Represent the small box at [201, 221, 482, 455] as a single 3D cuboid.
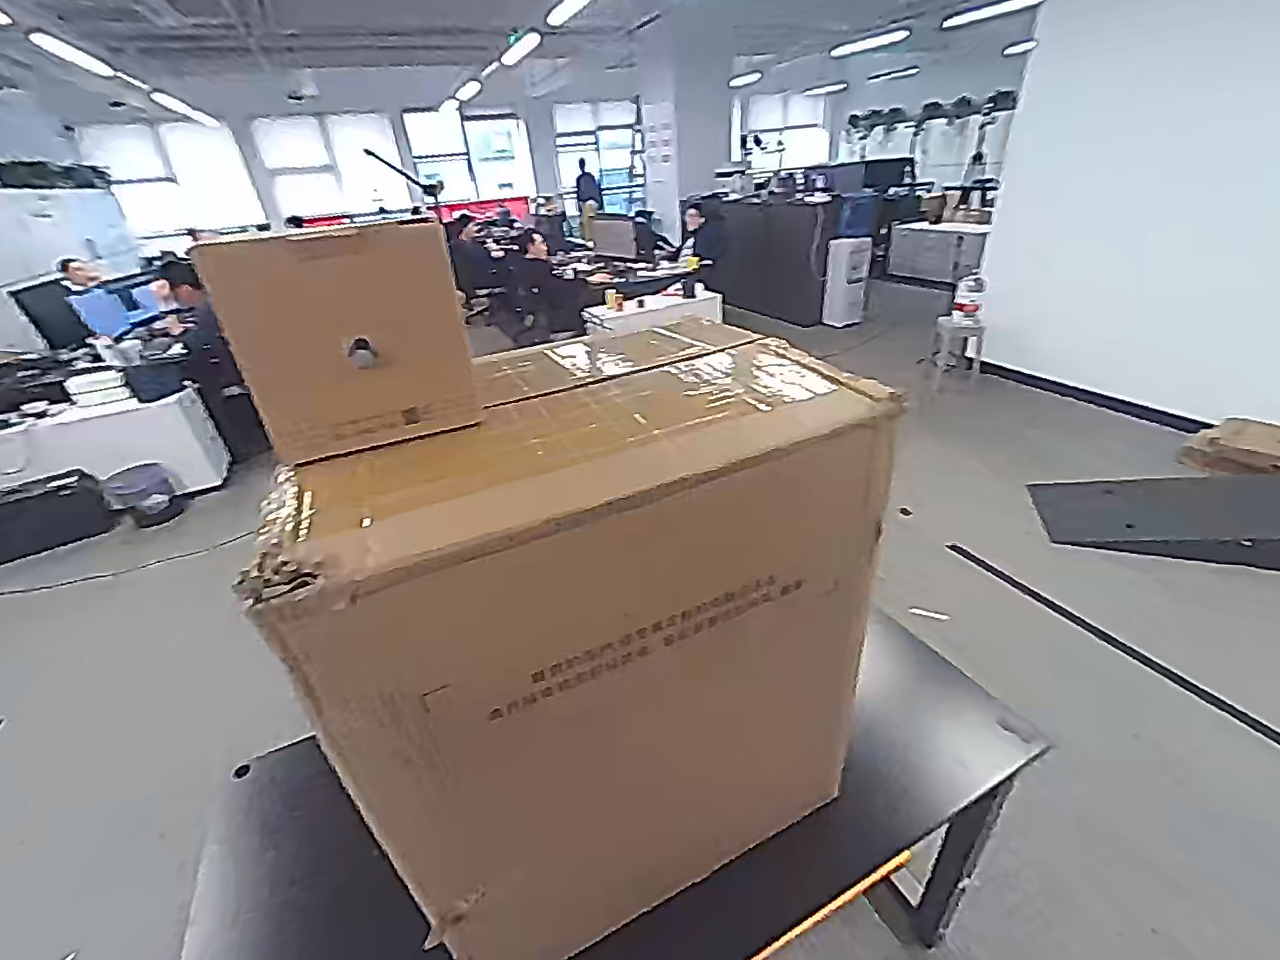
[{"bbox_3d":[-0.256,-0.135,0.500,0.168,0.176,0.179,-16,31,-20],"label":"small box"}]
